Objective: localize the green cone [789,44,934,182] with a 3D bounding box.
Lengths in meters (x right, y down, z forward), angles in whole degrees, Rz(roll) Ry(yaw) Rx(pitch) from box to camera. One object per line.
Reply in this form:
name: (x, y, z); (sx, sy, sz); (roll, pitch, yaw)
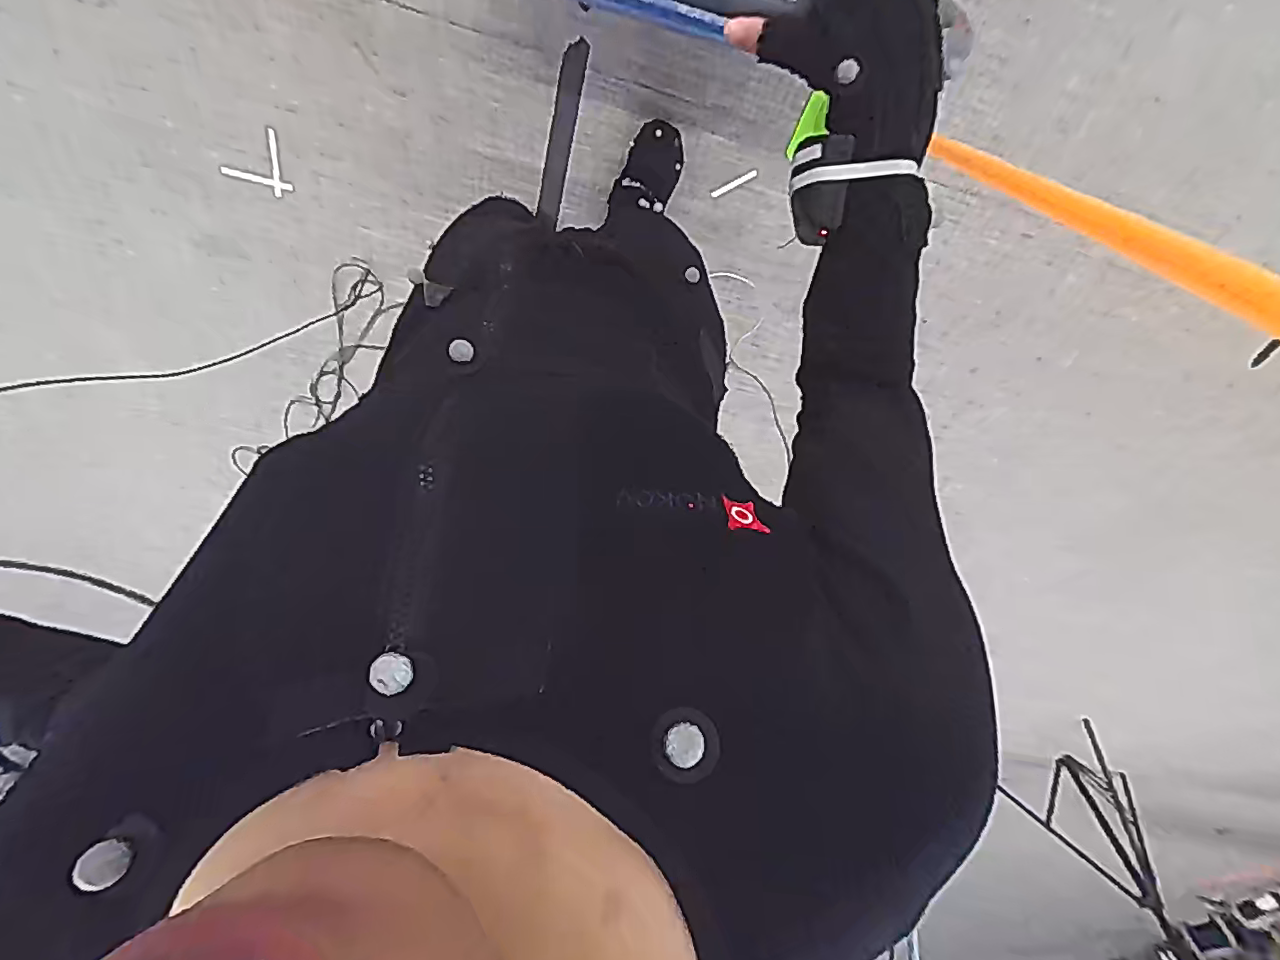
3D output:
green cone: (0.433, -0.649, 0.982); (0.202, 0.368, 0.200); (16, 125, -11)
